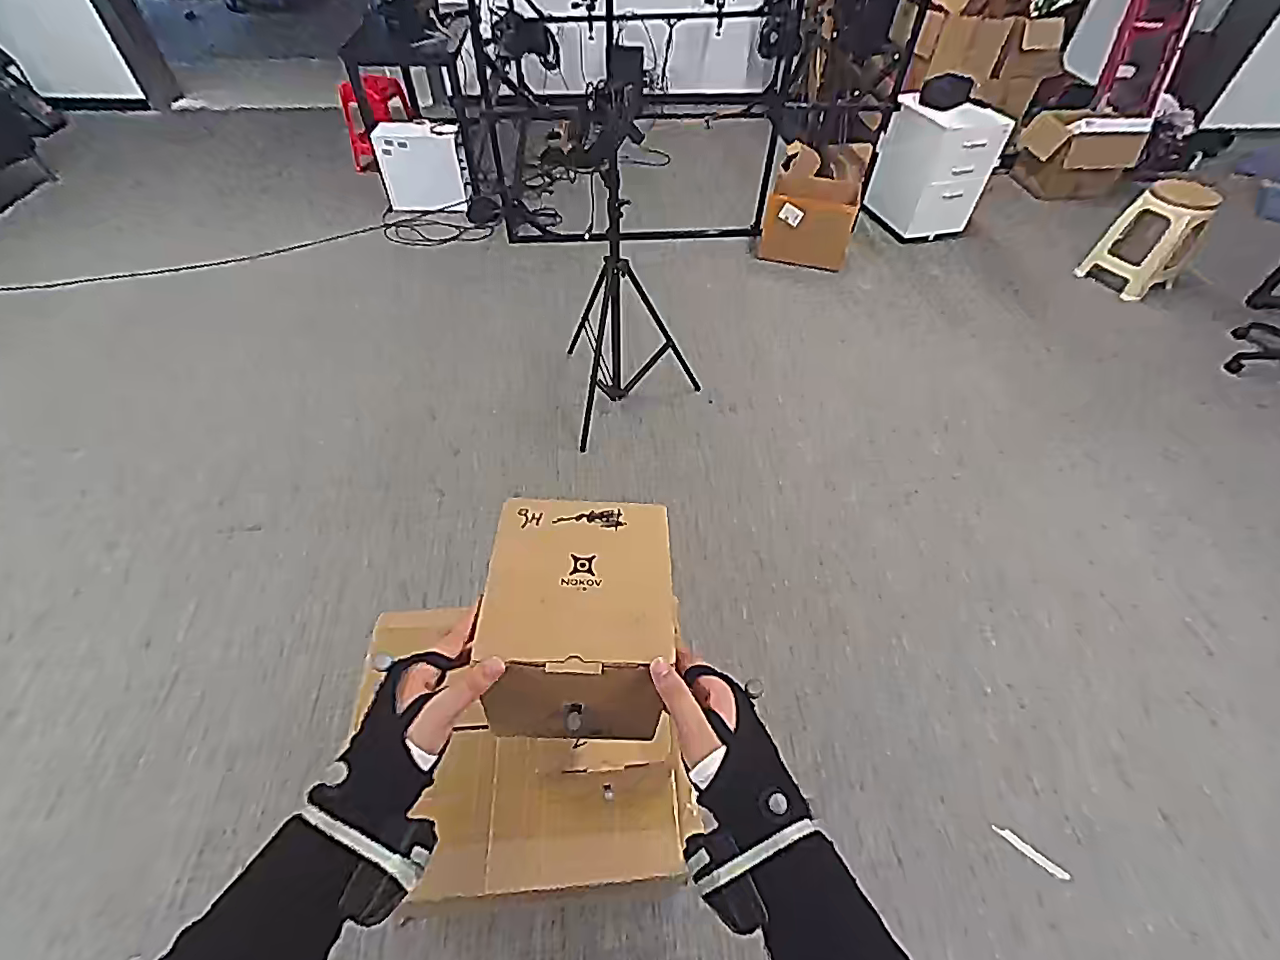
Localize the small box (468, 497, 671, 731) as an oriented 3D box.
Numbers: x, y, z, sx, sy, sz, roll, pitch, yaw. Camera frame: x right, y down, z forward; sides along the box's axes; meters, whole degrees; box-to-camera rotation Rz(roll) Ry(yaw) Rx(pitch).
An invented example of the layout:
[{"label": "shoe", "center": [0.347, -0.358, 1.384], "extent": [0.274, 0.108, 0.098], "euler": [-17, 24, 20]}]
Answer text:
[{"label": "small box", "center": [-0.061, 0.138, 0.542], "extent": [0.168, 0.176, 0.179], "euler": [3, 48, -4]}]

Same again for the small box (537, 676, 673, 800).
[{"label": "small box", "center": [-0.048, 0.326, 0.754], "extent": [0.168, 0.176, 0.179], "euler": [-4, 51, -3]}]
